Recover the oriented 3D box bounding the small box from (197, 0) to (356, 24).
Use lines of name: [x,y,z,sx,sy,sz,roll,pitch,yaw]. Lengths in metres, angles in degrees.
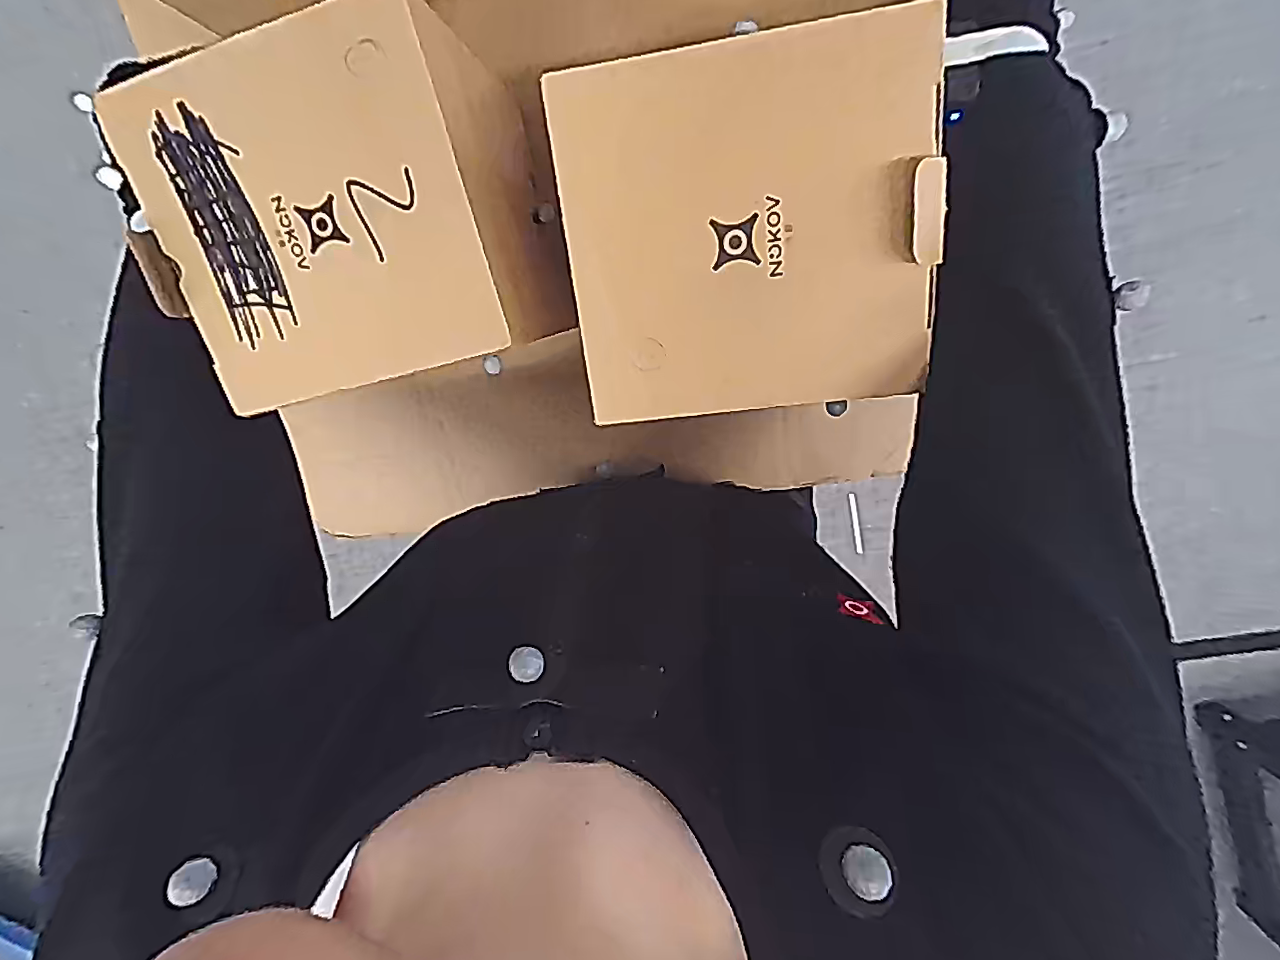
small box: [-0.233,-0.390,0.289,0.168,0.176,0.179,-9,106,9]
